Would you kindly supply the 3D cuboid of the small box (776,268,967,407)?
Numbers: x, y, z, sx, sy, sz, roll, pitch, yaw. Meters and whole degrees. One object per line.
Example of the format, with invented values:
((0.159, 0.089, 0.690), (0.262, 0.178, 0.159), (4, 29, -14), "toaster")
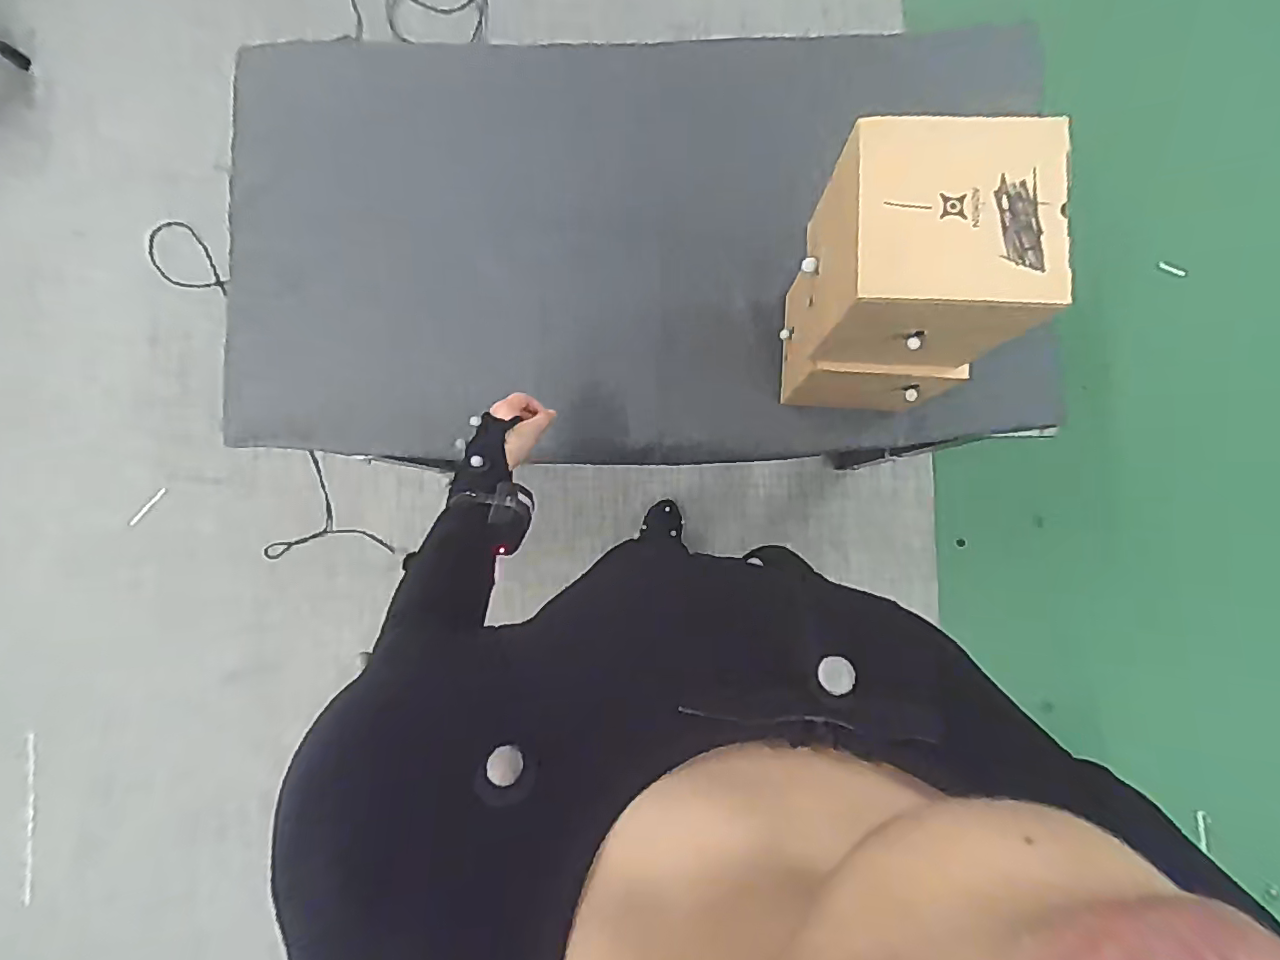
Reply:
((0.282, -0.192, 0.686), (0.179, 0.176, 0.168), (4, 84, 3), "small box")

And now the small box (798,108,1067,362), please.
((0.264, -0.219, 0.524), (0.179, 0.176, 0.168), (2, 85, 3), "small box")
